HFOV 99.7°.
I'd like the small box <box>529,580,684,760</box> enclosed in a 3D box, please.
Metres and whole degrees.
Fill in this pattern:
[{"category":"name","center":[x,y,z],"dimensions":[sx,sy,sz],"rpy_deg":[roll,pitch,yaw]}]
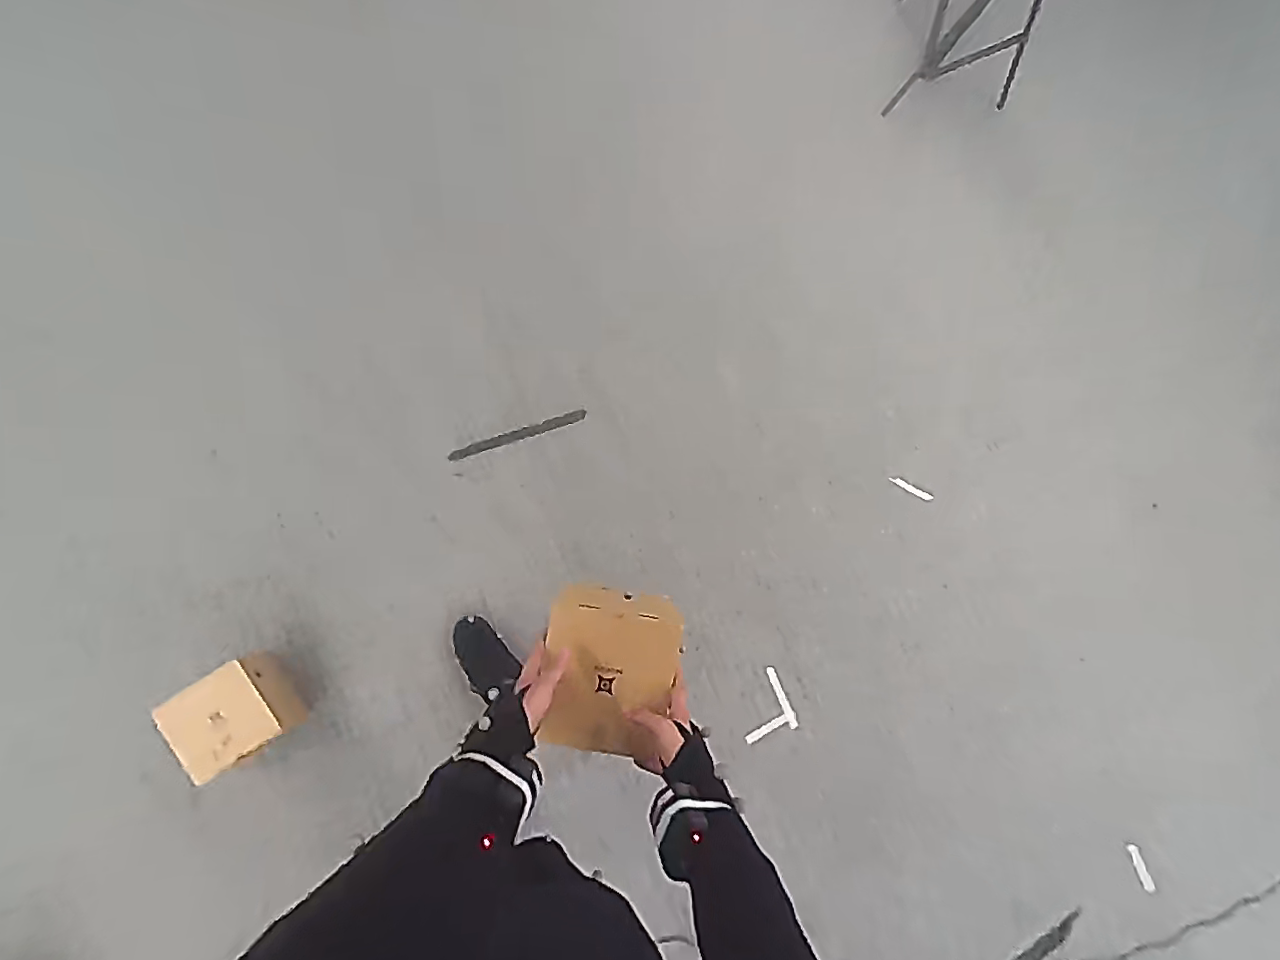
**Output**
[{"category":"small box","center":[-0.042,0.246,0.740],"dimensions":[0.168,0.176,0.179],"rpy_deg":[11,86,-2]}]

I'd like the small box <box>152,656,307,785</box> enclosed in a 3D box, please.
[{"category":"small box","center":[-0.841,0.485,1.127],"dimensions":[0.168,0.176,0.179],"rpy_deg":[-34,88,-18]}]
